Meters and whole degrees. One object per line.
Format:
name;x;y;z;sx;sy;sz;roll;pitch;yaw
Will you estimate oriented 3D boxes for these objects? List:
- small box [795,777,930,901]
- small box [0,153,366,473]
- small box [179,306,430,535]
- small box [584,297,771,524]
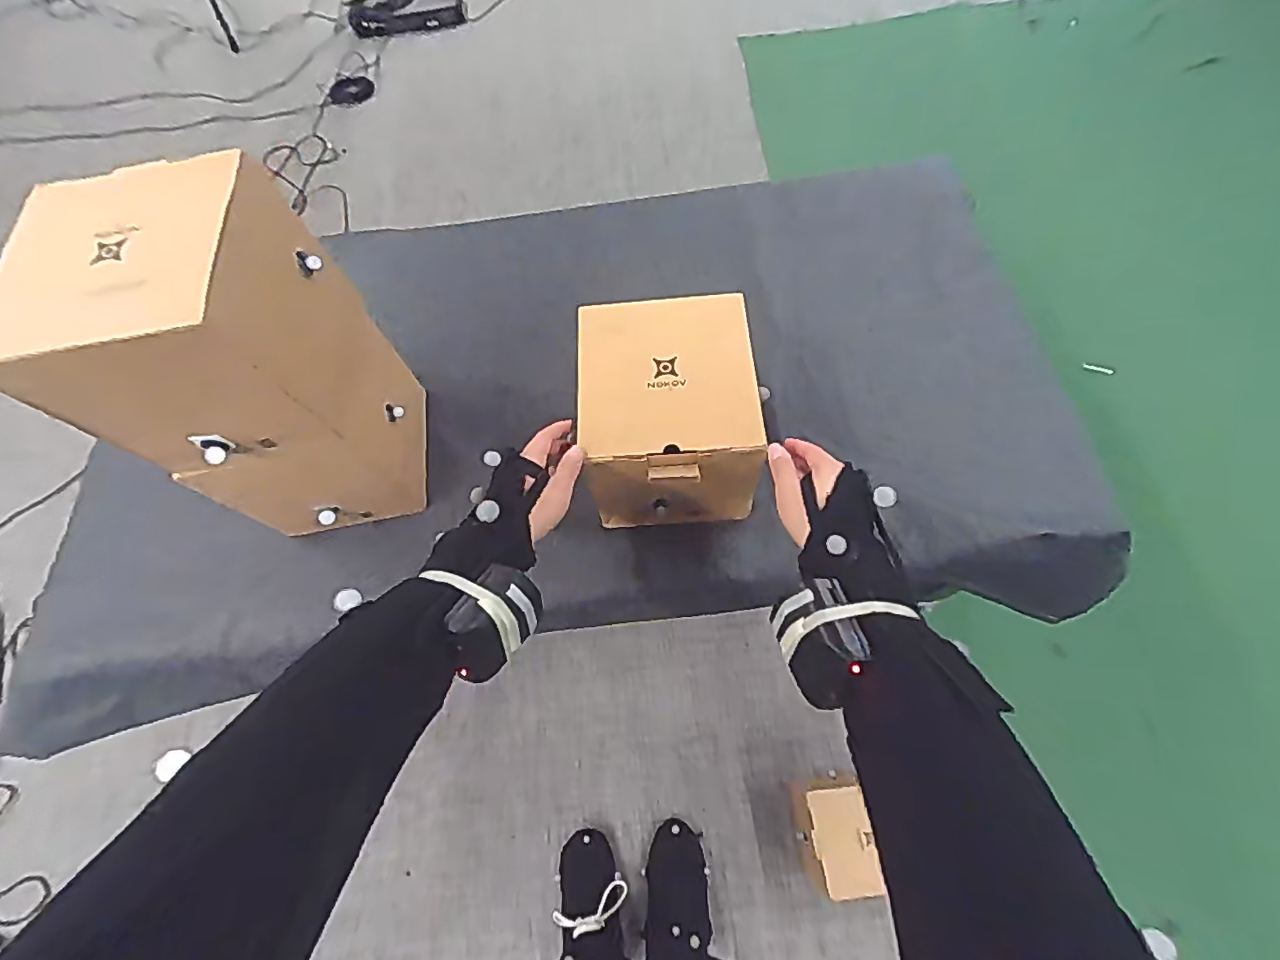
small box;0.399;0.661;1.012;0.179;0.176;0.168;-8;64;1
small box;-0.353;-0.128;0.453;0.168;0.176;0.179;-11;66;1
small box;-0.347;-0.058;0.599;0.168;0.176;0.179;-11;65;-1
small box;0.033;-0.066;0.575;0.168;0.176;0.179;-4;65;2
